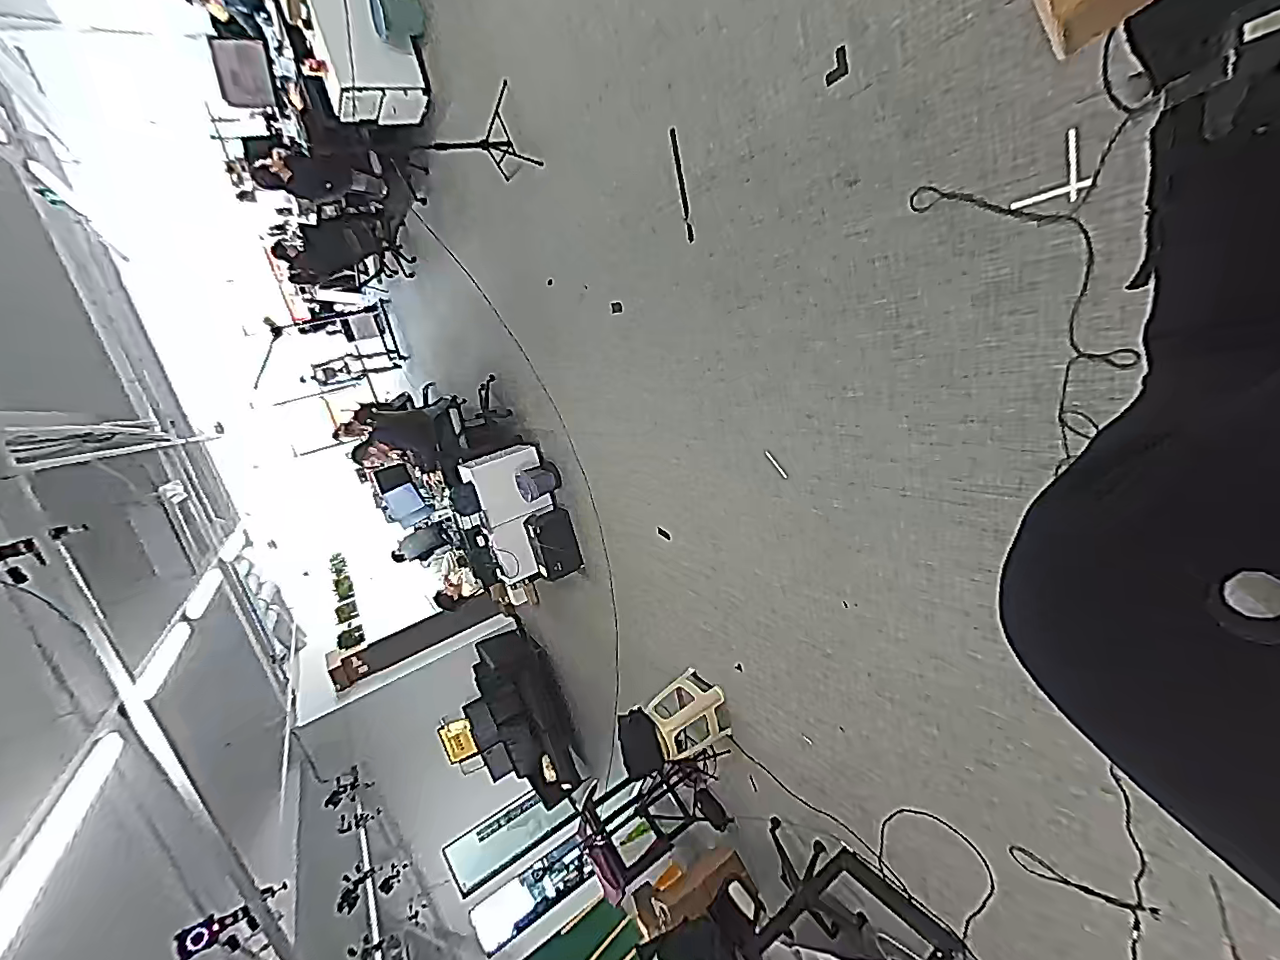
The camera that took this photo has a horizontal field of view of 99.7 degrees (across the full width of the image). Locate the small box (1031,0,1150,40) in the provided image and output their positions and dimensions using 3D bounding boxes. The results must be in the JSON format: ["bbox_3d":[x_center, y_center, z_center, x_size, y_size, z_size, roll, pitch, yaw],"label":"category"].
[{"bbox_3d":[0.219,-0.316,0.203,0.168,0.176,0.179,-23,101,45],"label":"small box"}]
